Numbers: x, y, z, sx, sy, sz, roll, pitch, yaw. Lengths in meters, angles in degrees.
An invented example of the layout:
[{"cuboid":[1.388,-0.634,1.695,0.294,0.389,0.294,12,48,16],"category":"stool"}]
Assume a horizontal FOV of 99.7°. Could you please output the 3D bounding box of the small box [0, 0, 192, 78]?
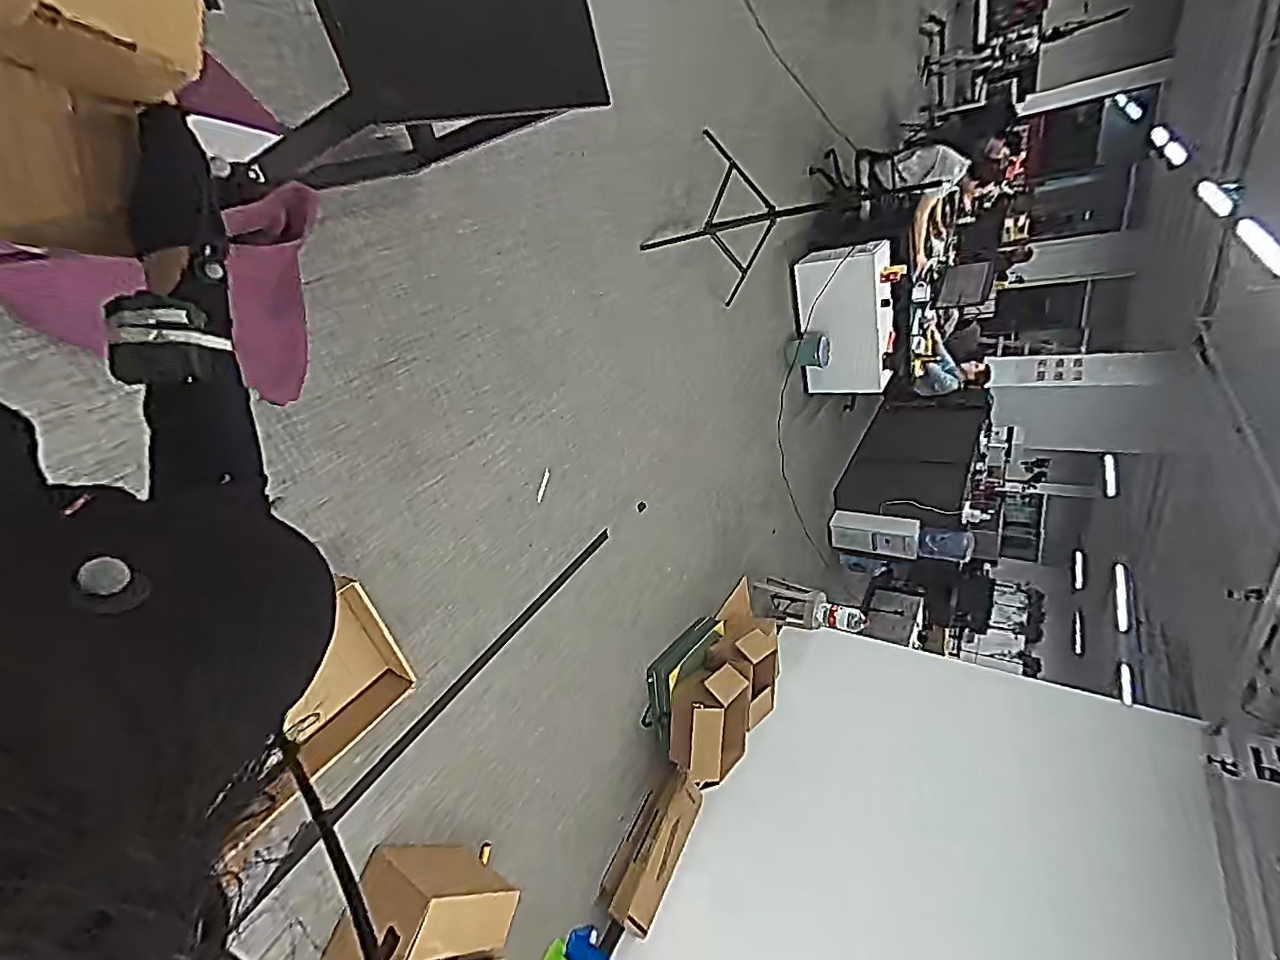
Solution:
[{"cuboid":[-0.367,-0.359,0.292,0.168,0.176,0.179,-6,109,-54],"category":"small box"}]
